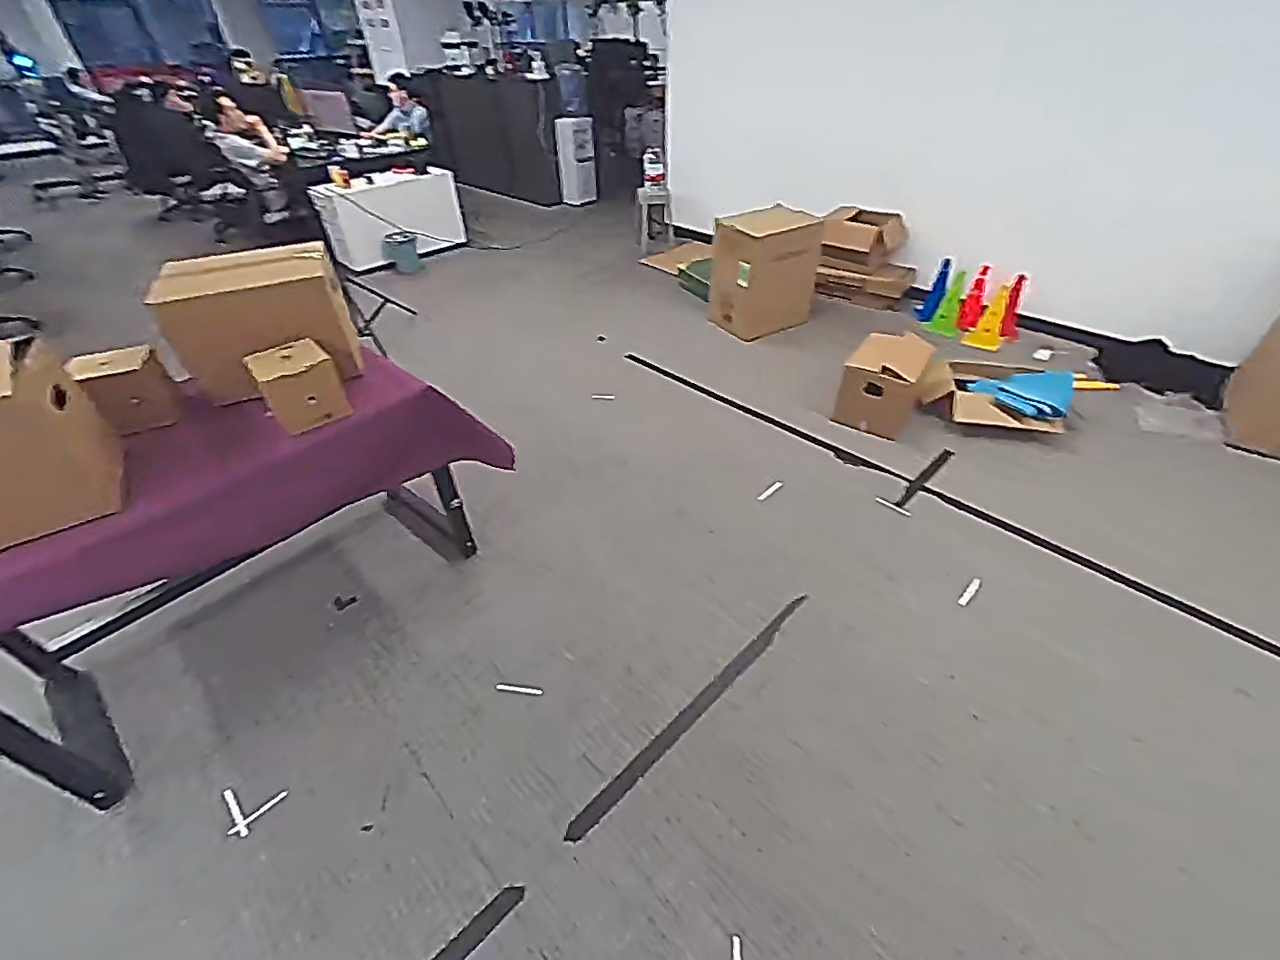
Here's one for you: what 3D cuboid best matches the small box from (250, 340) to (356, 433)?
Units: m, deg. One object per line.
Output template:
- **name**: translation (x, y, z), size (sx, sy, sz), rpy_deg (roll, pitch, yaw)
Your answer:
- **small box**: translation (-0.894, -0.247, 1.446), size (0.168, 0.176, 0.179), rpy_deg (-31, 48, -30)
